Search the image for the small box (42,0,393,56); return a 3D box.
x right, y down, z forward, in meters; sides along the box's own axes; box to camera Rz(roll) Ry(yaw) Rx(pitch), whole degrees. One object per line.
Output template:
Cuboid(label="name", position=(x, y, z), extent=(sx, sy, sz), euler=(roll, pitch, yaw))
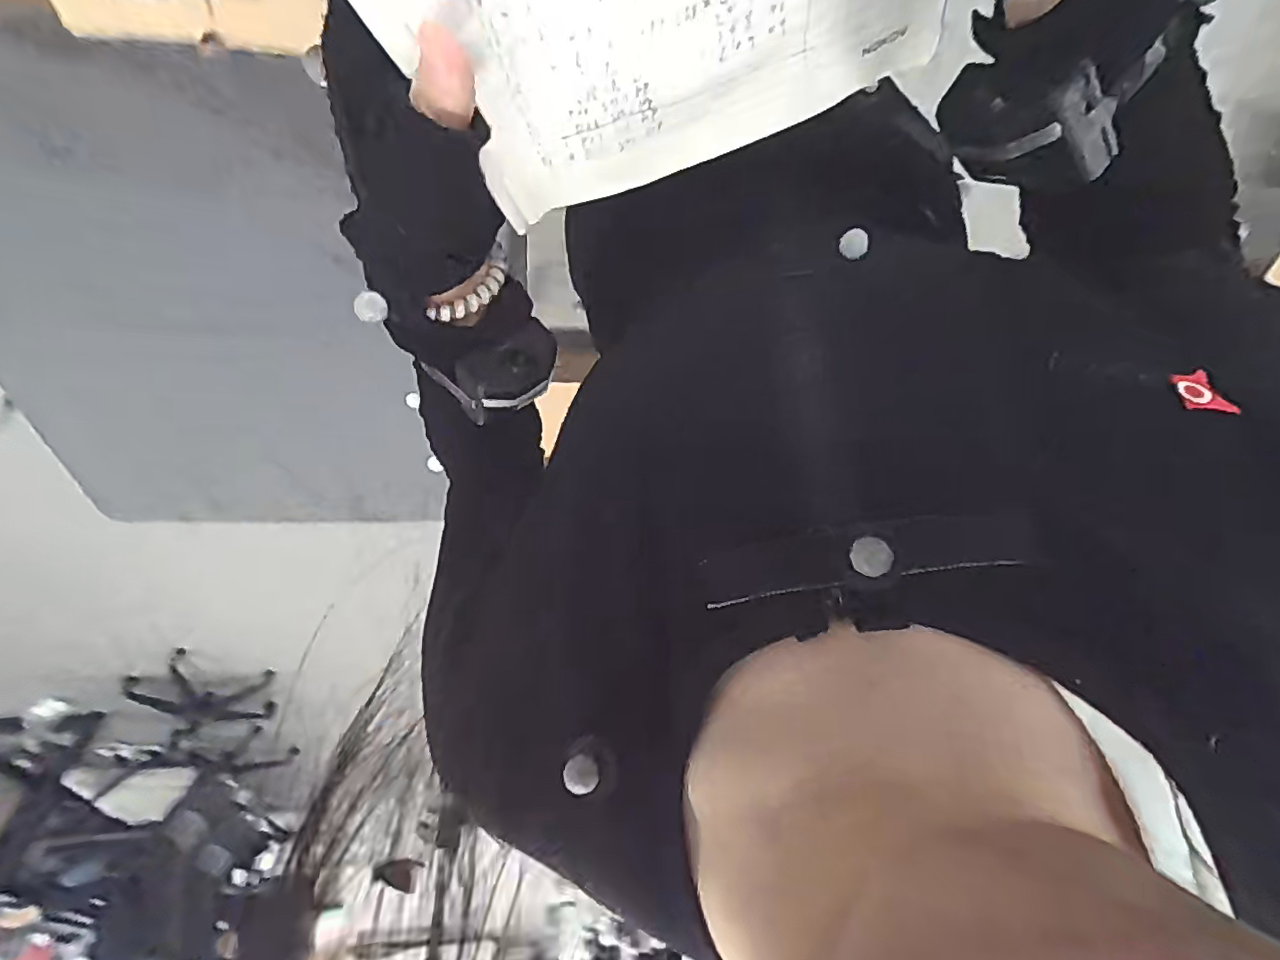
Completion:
Cuboid(label="small box", position=(-0.266, -0.388, 0.330), extent=(0.168, 0.176, 0.179), euler=(0, 133, -9))
